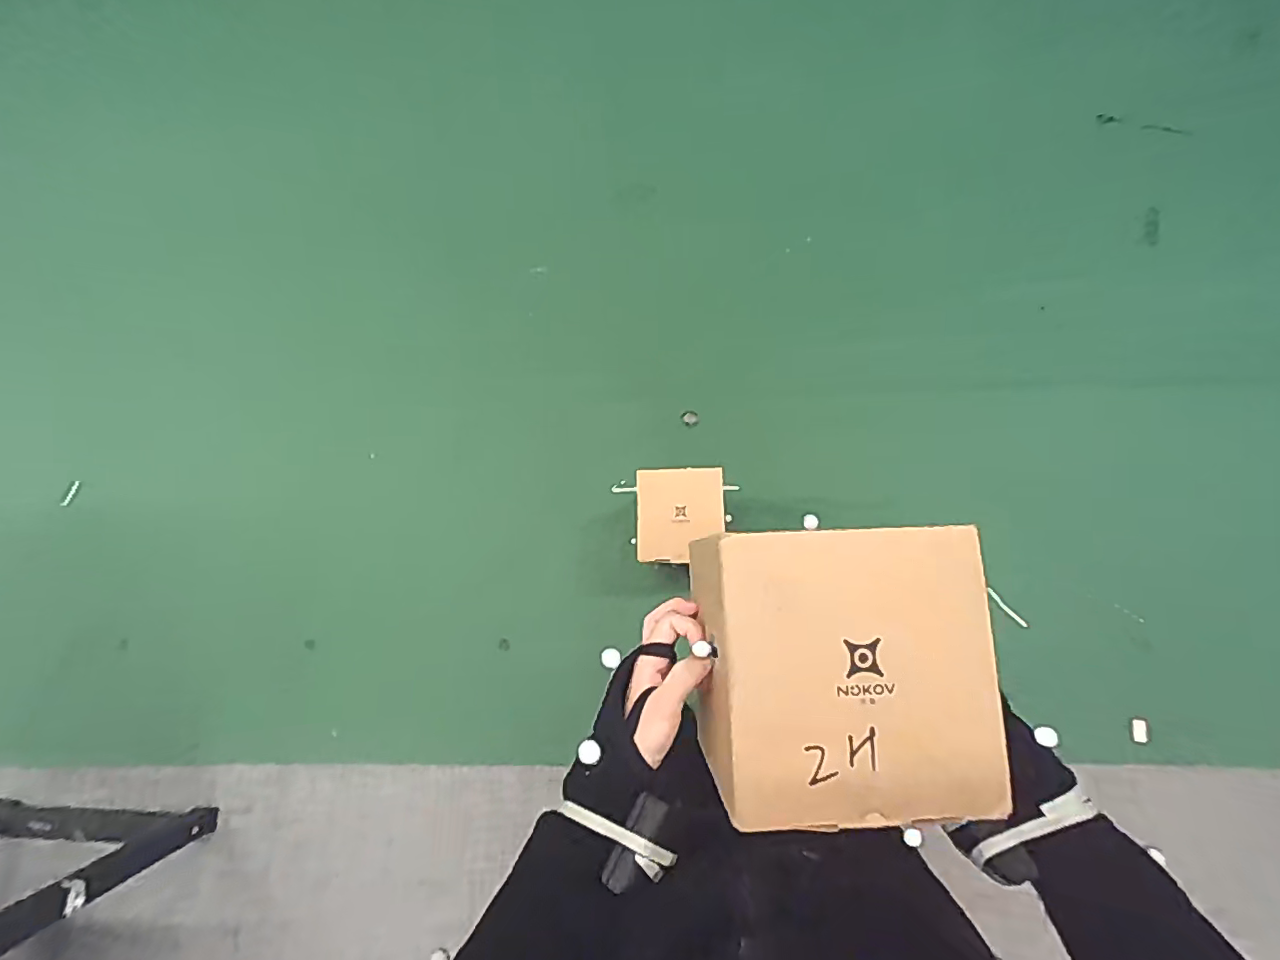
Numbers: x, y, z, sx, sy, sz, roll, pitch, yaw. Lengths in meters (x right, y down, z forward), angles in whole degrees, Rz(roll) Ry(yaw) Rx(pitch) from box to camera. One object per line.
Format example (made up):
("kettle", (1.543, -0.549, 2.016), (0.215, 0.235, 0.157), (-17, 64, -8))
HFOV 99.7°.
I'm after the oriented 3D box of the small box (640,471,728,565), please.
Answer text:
("small box", (0.086, 0.083, 1.099), (0.168, 0.176, 0.179), (-3, 82, 4))
